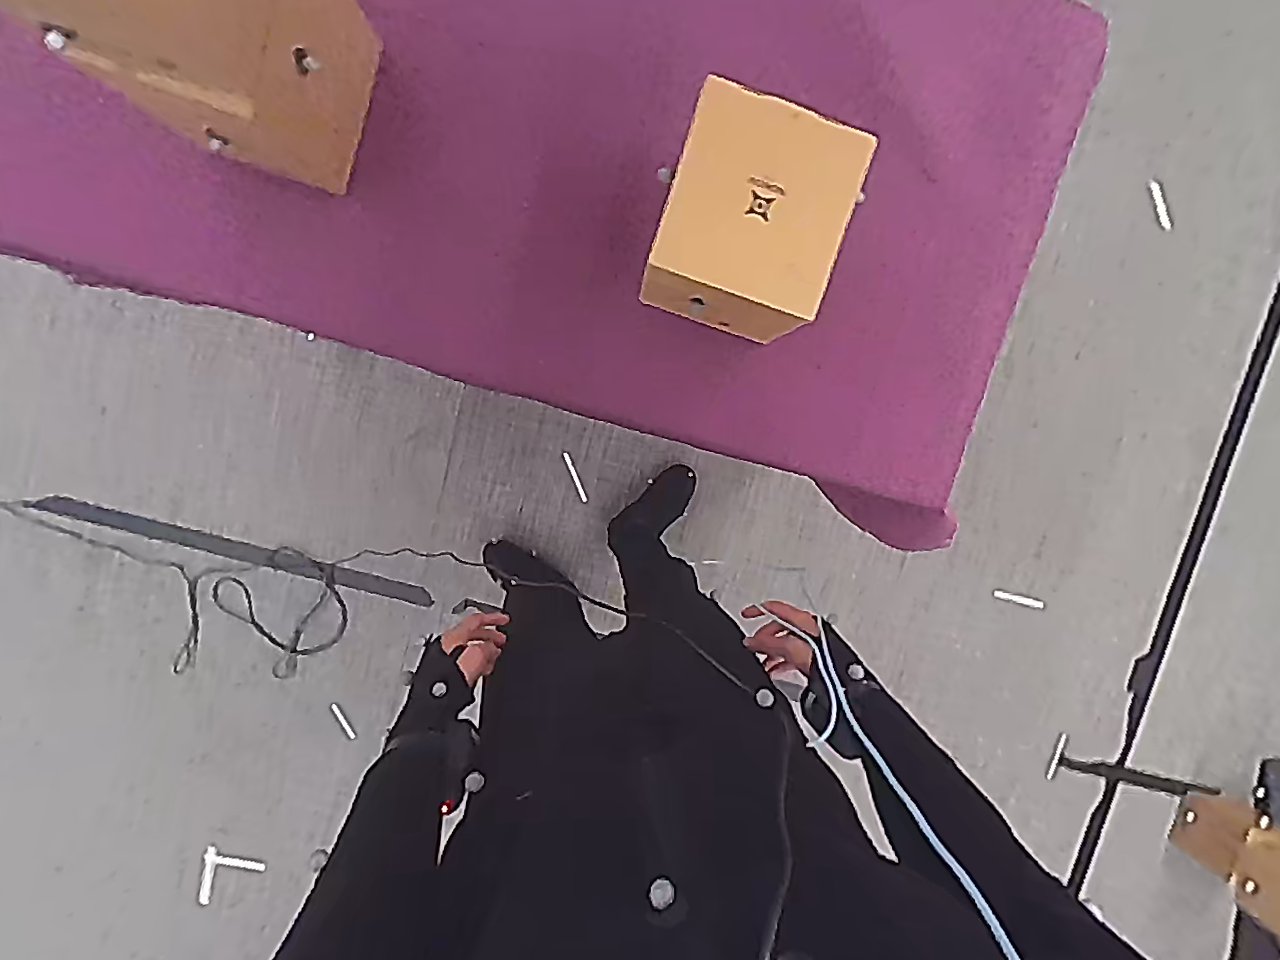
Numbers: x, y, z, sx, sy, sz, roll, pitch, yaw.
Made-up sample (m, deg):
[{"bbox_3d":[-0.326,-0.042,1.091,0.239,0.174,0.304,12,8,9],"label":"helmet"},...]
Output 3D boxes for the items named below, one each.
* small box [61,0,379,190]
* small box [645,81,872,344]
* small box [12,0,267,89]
[{"bbox_3d":[-0.384,-0.422,0.529,0.168,0.176,0.179,18,95,-5],"label":"small box"},{"bbox_3d":[0.108,-0.259,0.575,0.168,0.176,0.179,18,94,-4],"label":"small box"},{"bbox_3d":[-0.377,-0.416,0.365,0.168,0.176,0.179,14,95,-5],"label":"small box"}]
